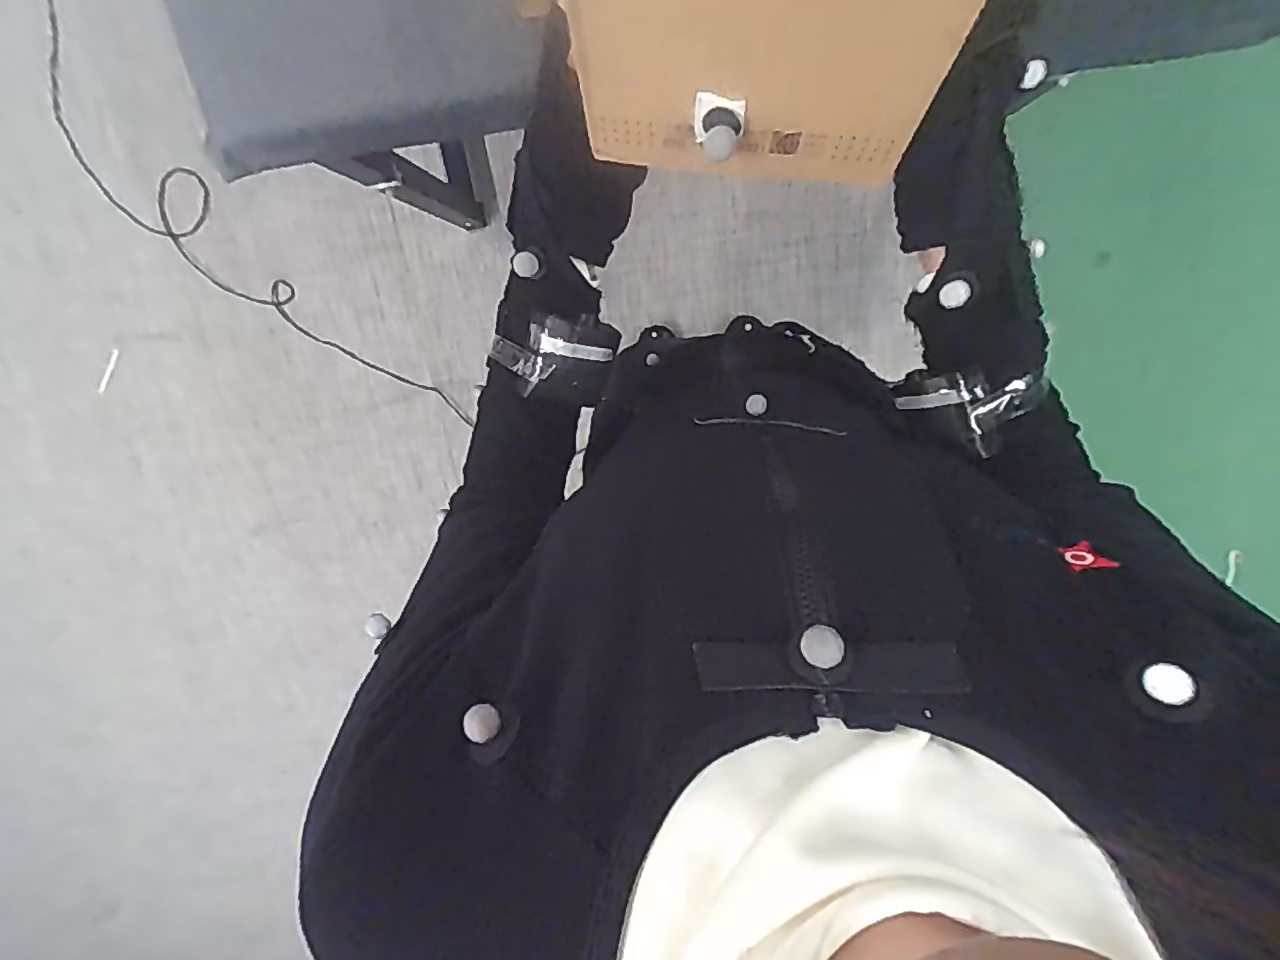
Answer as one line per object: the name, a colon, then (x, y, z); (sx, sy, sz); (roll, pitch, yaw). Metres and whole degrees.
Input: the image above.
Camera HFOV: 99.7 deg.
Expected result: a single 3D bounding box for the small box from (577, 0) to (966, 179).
small box: (0.059, -0.277, 0.245); (0.168, 0.176, 0.179); (6, 81, 4)
